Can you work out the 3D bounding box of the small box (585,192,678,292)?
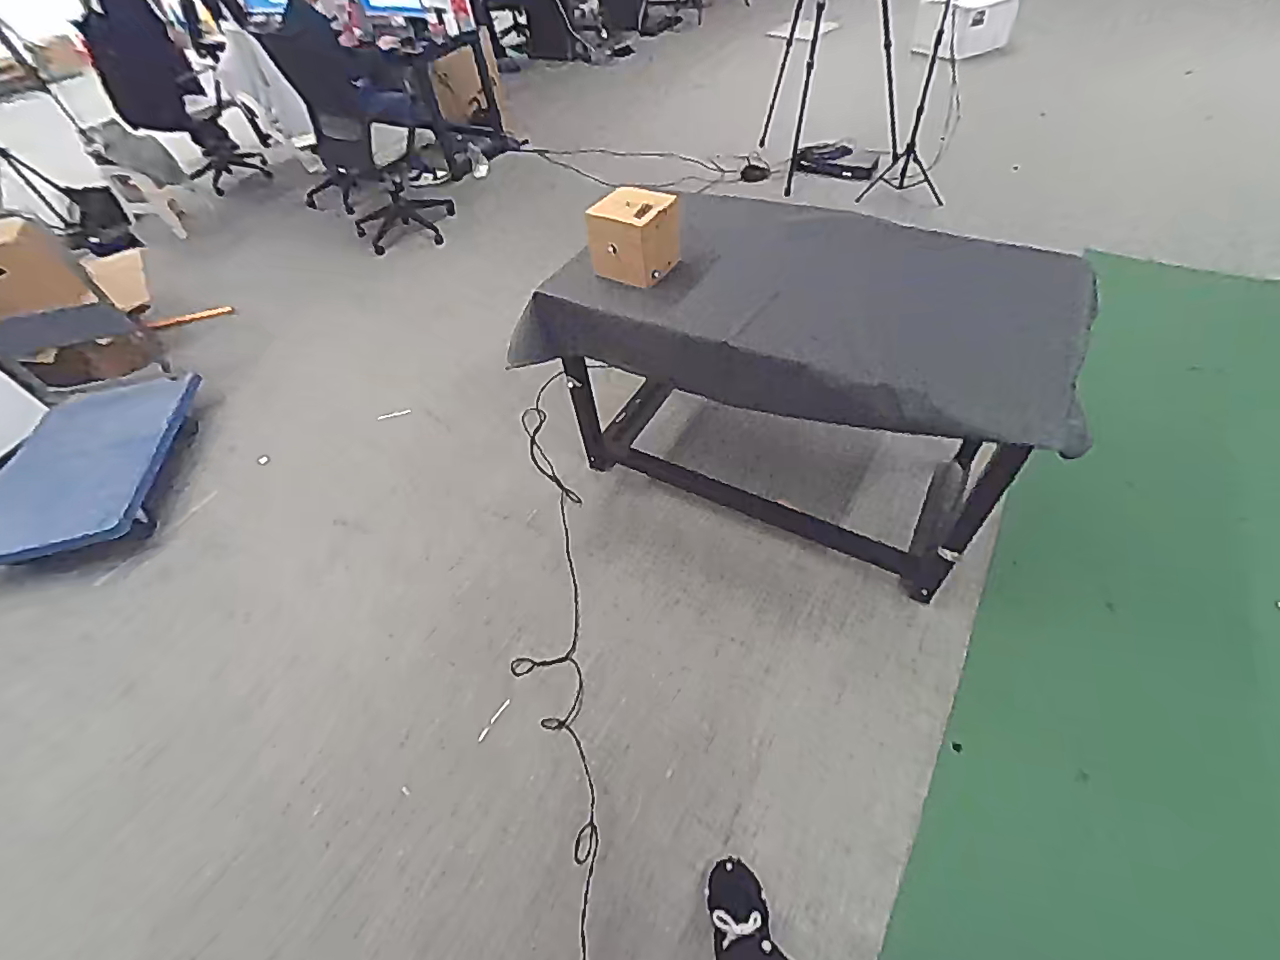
[{"bbox_3d":[-0.013,-0.607,1.389,0.179,0.176,0.168,25,57,25],"label":"small box"}]
